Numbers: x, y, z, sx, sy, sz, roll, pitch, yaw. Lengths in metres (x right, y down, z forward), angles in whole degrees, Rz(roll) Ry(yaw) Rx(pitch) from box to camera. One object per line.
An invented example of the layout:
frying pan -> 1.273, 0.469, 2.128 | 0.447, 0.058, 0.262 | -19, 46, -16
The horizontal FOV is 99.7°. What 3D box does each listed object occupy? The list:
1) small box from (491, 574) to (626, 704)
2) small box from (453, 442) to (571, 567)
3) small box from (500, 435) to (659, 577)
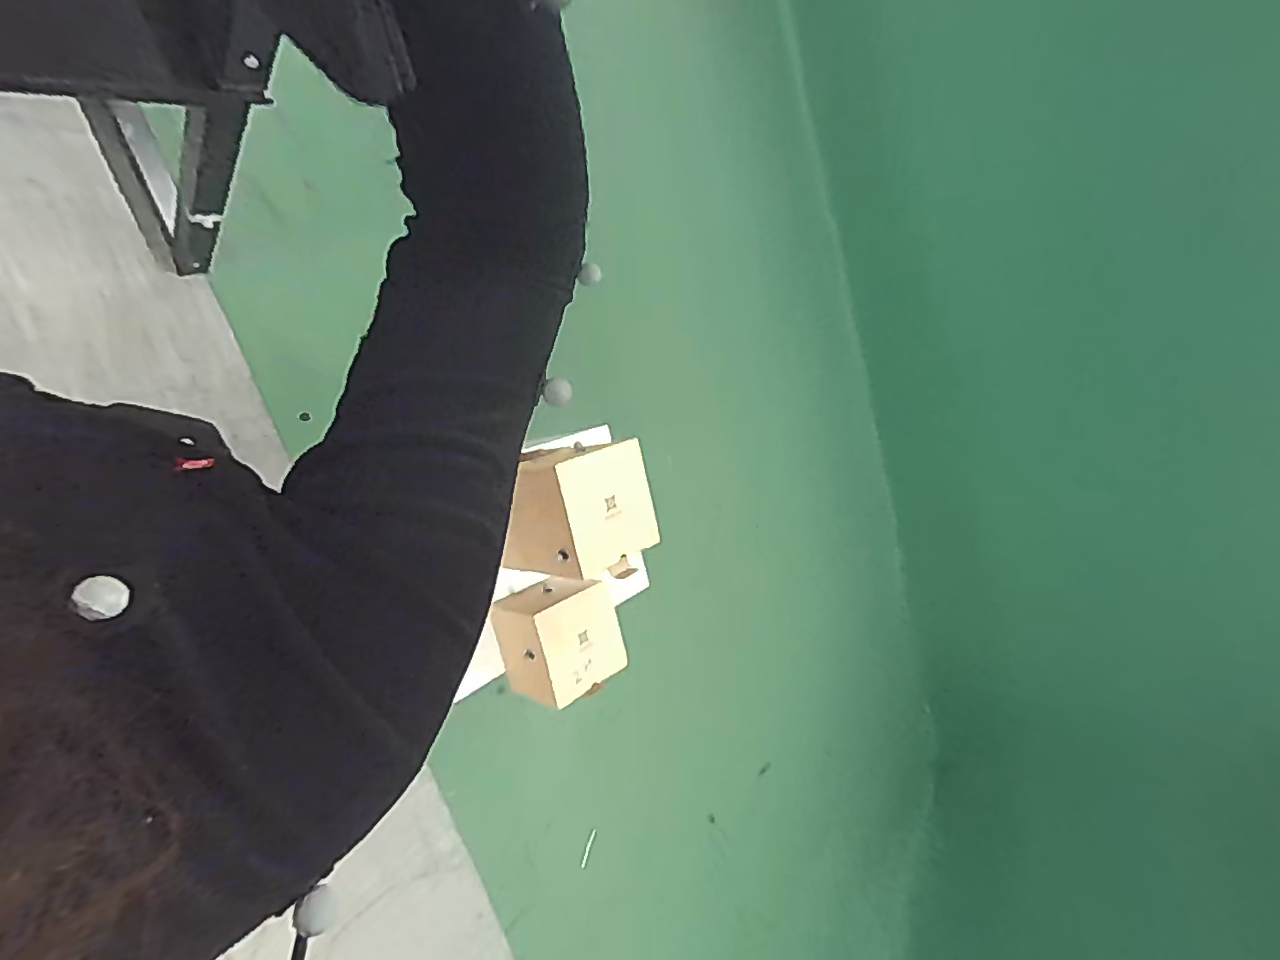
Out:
small box -> -0.156, 0.283, 1.011 | 0.168, 0.176, 0.179 | -20, 101, -41
small box -> -0.211, 0.042, 0.976 | 0.168, 0.176, 0.179 | -24, 105, -41
small box -> -0.098, 0.037, 0.858 | 0.168, 0.176, 0.179 | -23, 105, -42
